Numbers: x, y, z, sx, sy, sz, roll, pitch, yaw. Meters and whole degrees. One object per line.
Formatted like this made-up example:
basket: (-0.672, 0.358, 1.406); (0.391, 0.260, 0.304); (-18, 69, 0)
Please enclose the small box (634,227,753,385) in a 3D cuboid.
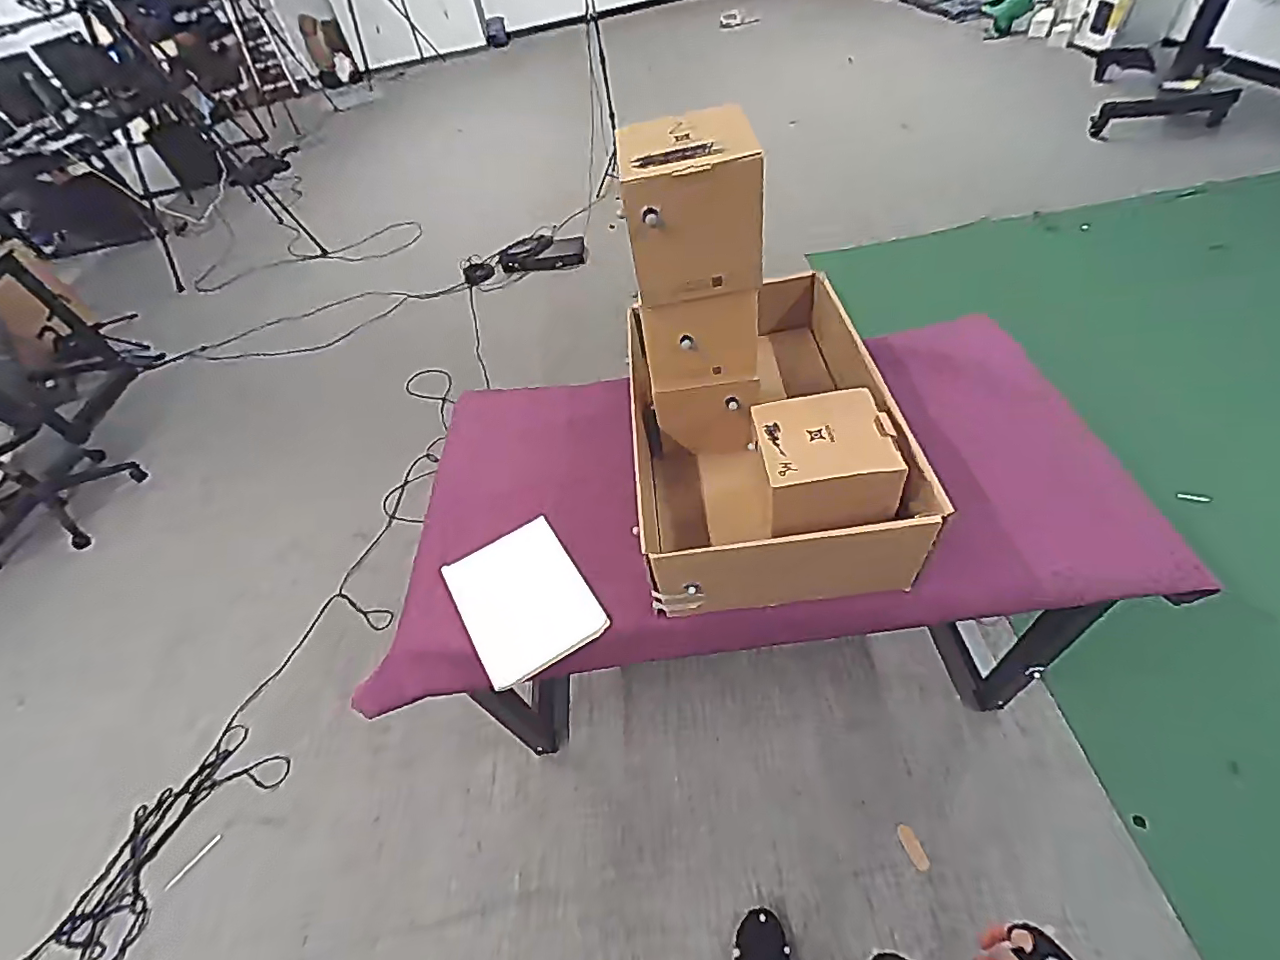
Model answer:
small box: (0.086, -0.266, 0.858); (0.168, 0.176, 0.179); (-7, 50, 6)
